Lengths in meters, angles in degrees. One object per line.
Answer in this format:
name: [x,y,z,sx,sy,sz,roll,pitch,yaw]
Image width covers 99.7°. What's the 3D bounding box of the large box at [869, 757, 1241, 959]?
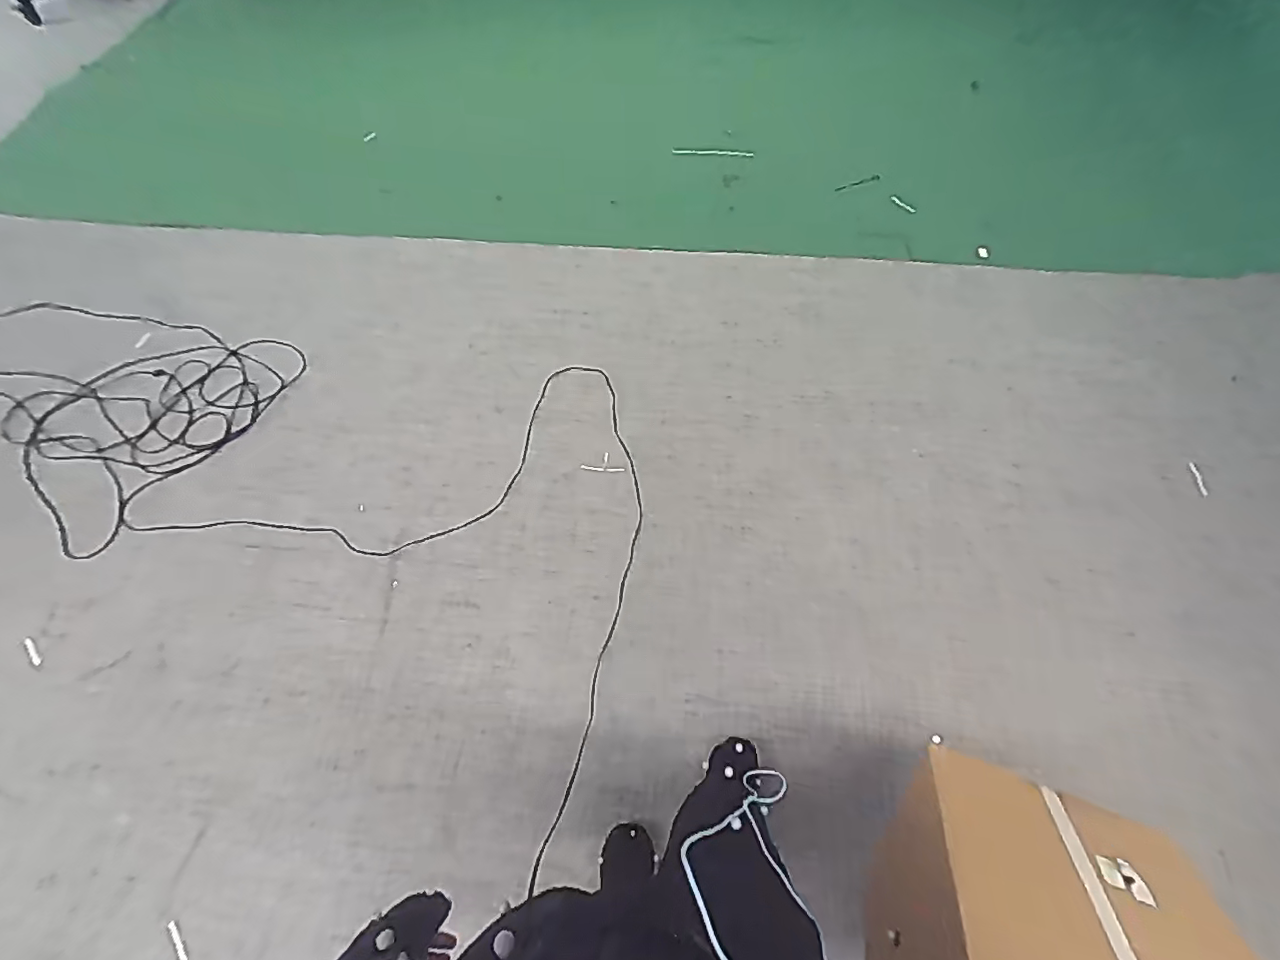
large box: [0.473,0.632,0.631,0.320,0.408,0.320,18,103,19]
